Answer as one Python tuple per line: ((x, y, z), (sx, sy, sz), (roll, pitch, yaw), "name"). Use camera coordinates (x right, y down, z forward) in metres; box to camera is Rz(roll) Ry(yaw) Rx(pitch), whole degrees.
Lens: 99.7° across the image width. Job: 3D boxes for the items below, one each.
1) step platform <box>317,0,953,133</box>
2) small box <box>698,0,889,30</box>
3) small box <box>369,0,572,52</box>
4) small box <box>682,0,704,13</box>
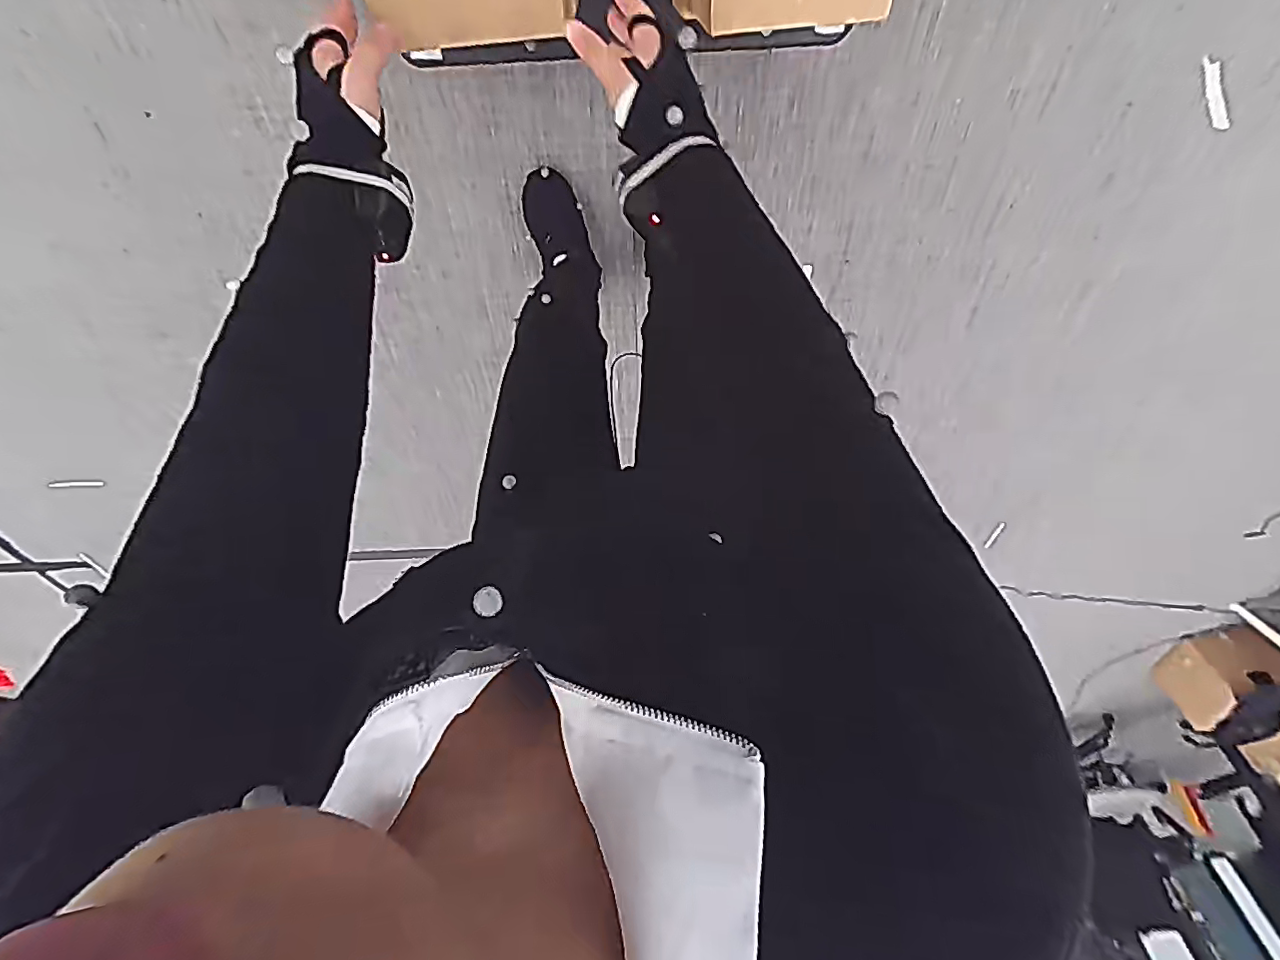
((-0.006, -0.596, 0.612), (0.684, 0.204, 0.286), (-4, 136, -1), "step platform")
((0.138, -0.539, 0.493), (0.168, 0.176, 0.179), (-4, 137, 1), "small box")
((-0.161, -0.519, 0.498), (0.179, 0.176, 0.168), (-5, 135, 2), "small box")
((0.122, -0.654, 0.610), (0.168, 0.176, 0.179), (-3, 137, 1), "small box")
